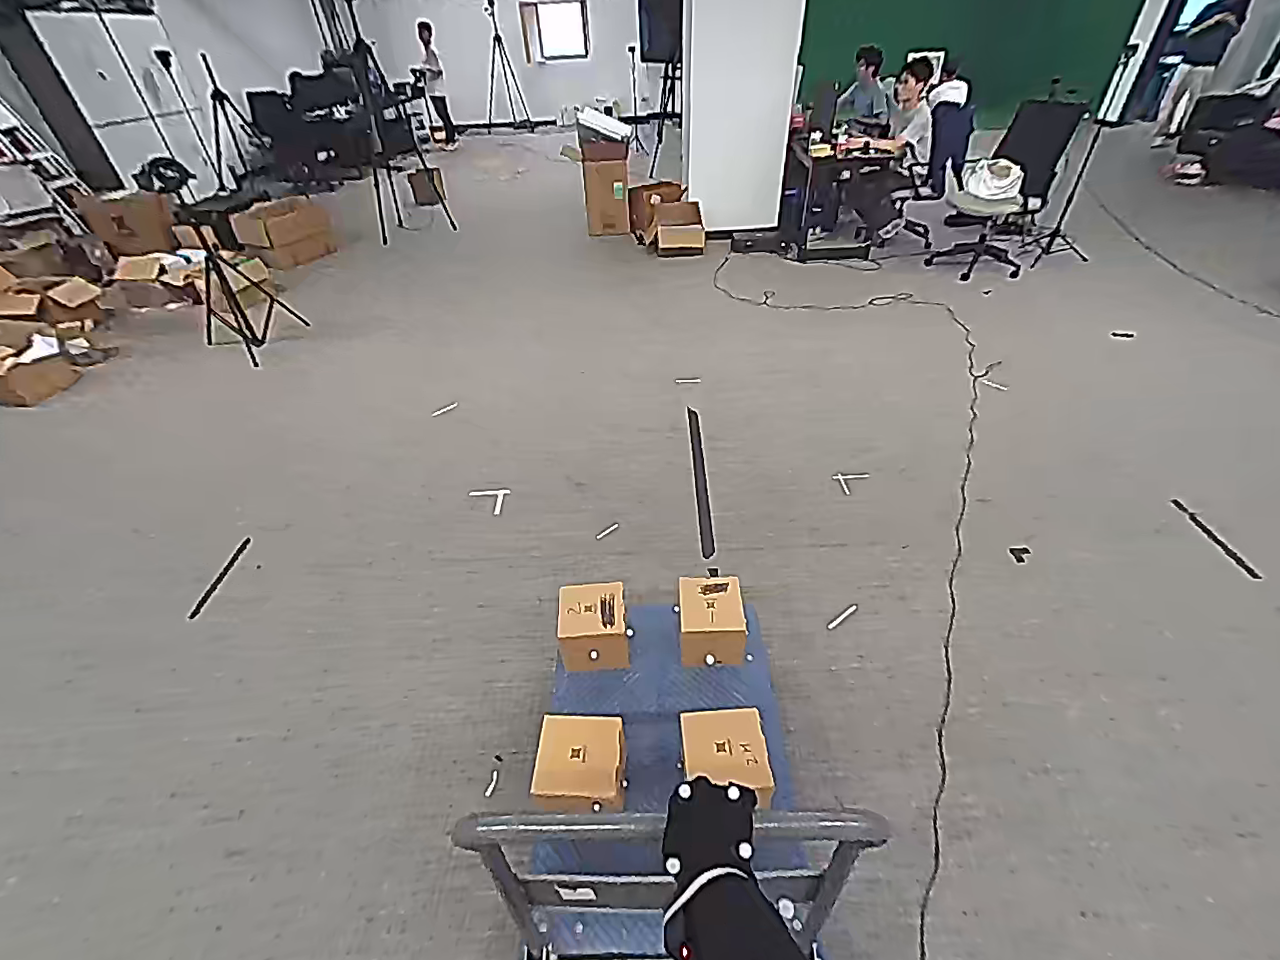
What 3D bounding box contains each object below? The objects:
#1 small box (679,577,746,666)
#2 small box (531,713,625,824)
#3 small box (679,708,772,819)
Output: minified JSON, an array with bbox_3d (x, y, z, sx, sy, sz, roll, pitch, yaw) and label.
[{"bbox_3d":[0.191,0.384,1.477,0.168,0.176,0.179,-1,41,2],"label":"small box"},{"bbox_3d":[-0.128,0.638,1.194,0.179,0.176,0.168,1,39,3],"label":"small box"},{"bbox_3d":[0.182,0.624,1.187,0.179,0.176,0.168,-4,40,0],"label":"small box"}]
